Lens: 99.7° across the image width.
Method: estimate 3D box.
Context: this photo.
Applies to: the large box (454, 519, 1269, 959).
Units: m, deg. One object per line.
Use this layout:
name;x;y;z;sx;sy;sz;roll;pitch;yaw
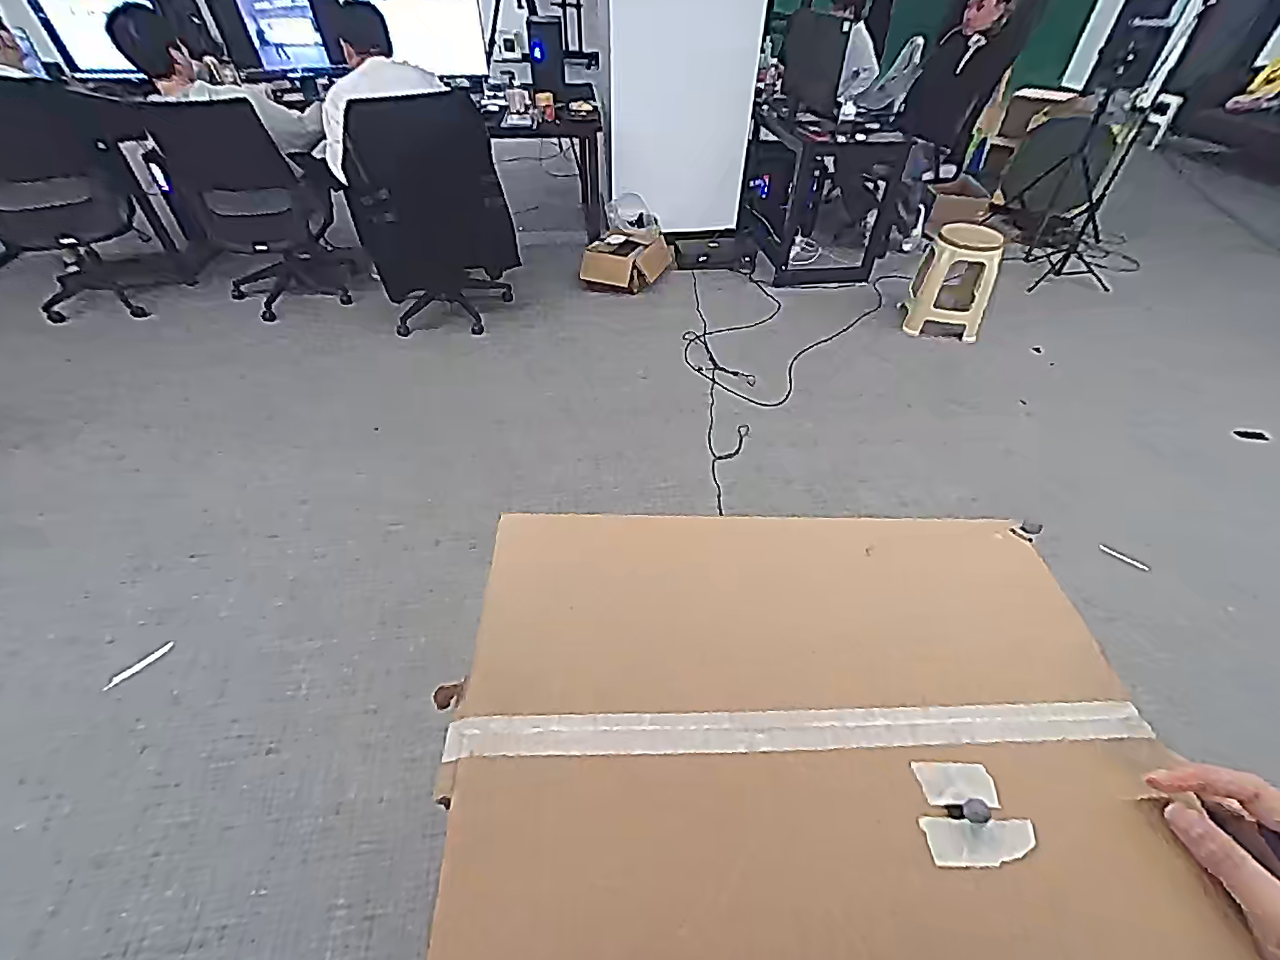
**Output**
large box;0.093;0.245;0.436;0.408;0.320;0.320;1;49;-5
